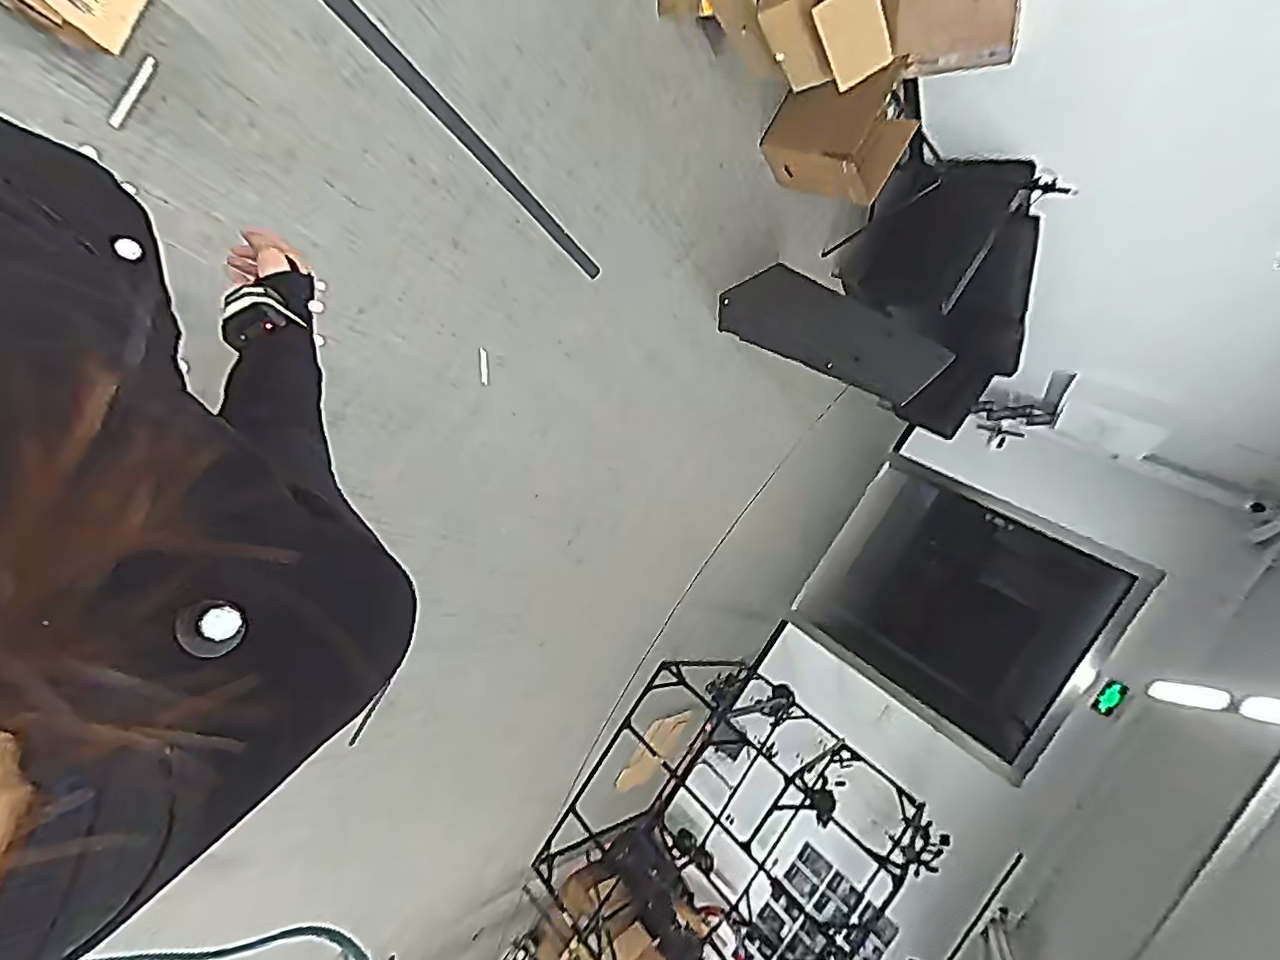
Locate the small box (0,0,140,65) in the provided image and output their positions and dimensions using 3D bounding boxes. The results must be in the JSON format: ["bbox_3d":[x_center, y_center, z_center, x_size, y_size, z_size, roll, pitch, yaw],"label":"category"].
[{"bbox_3d":[-0.951,-0.828,0.881,0.168,0.176,0.179,24,99,-56],"label":"small box"}]
